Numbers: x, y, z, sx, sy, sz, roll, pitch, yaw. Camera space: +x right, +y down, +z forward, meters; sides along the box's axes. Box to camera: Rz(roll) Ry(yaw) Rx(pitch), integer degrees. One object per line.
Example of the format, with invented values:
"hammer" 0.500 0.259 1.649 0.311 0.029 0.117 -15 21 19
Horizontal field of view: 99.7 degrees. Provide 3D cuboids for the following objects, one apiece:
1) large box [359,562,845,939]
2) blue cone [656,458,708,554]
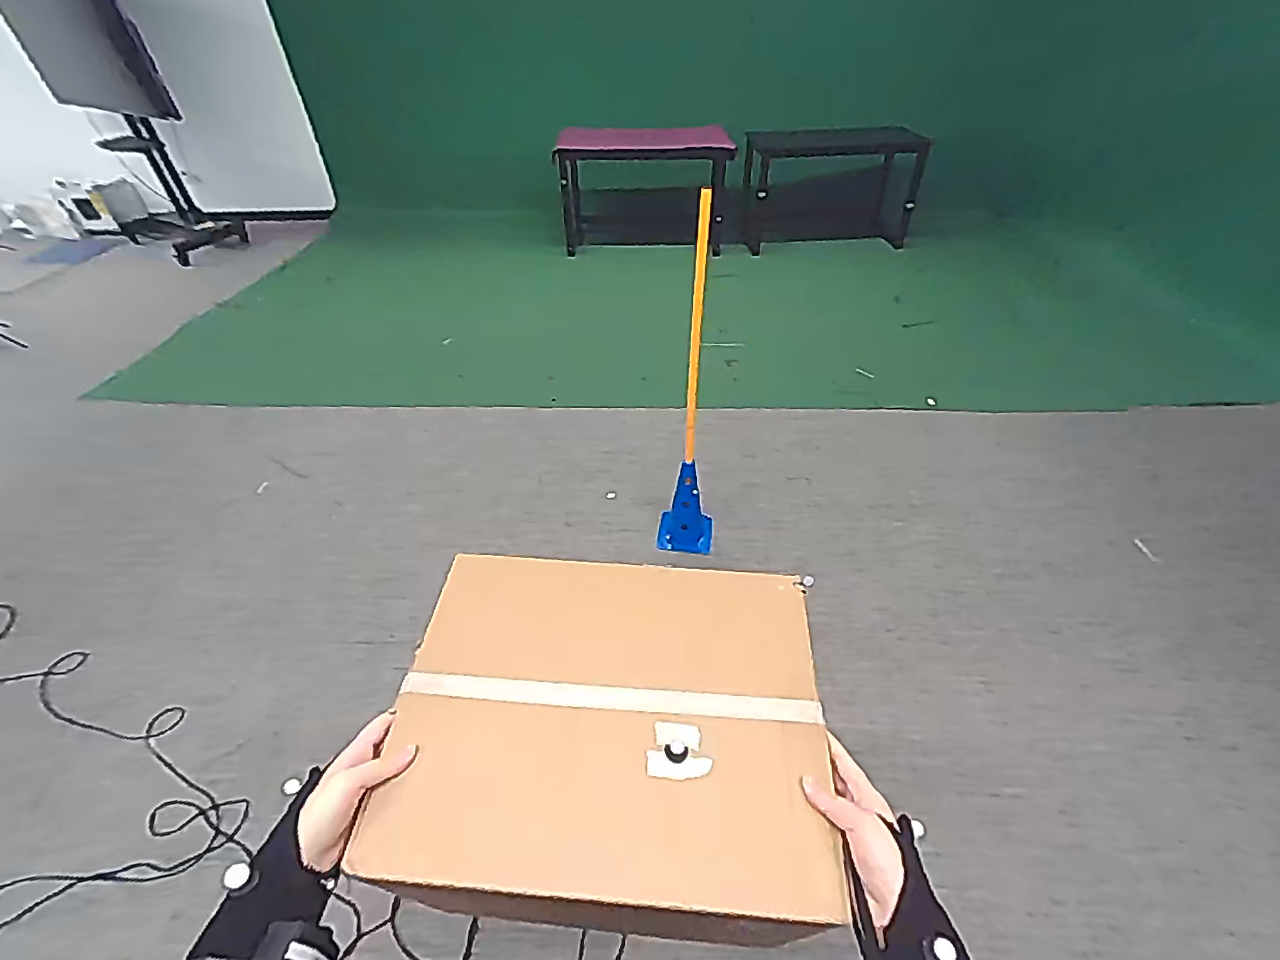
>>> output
"large box" -0.029 0.321 0.642 0.408 0.320 0.320 4 47 2
"blue cone" 0.160 0.082 1.964 0.193 0.380 0.192 7 41 8
